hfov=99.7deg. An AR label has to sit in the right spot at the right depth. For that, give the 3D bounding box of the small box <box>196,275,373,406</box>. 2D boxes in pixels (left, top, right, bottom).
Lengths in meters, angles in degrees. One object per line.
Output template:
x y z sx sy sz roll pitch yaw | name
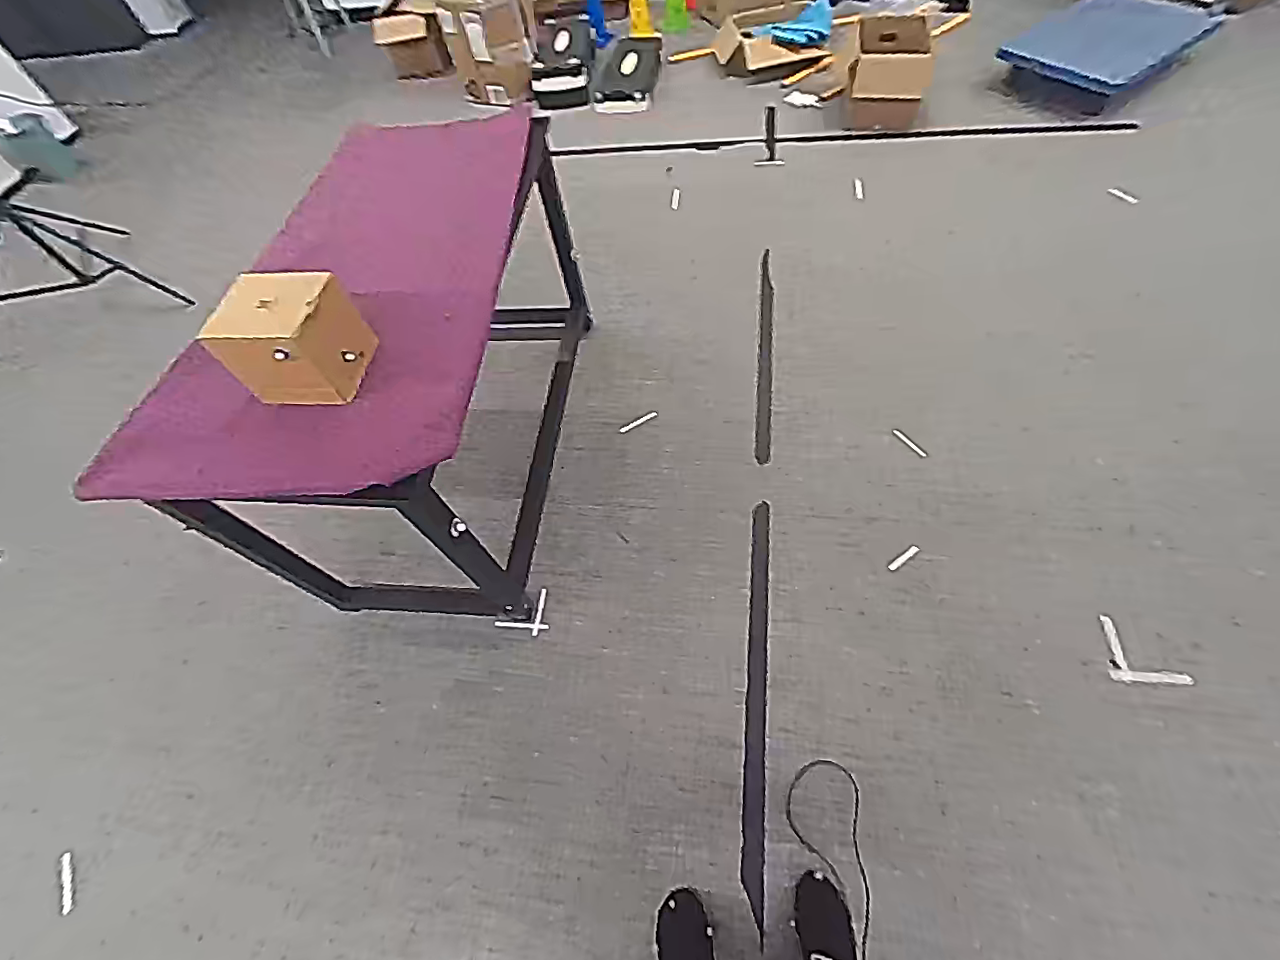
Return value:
-0.627 -0.248 0.980 0.179 0.176 0.168 1 58 6 | small box
